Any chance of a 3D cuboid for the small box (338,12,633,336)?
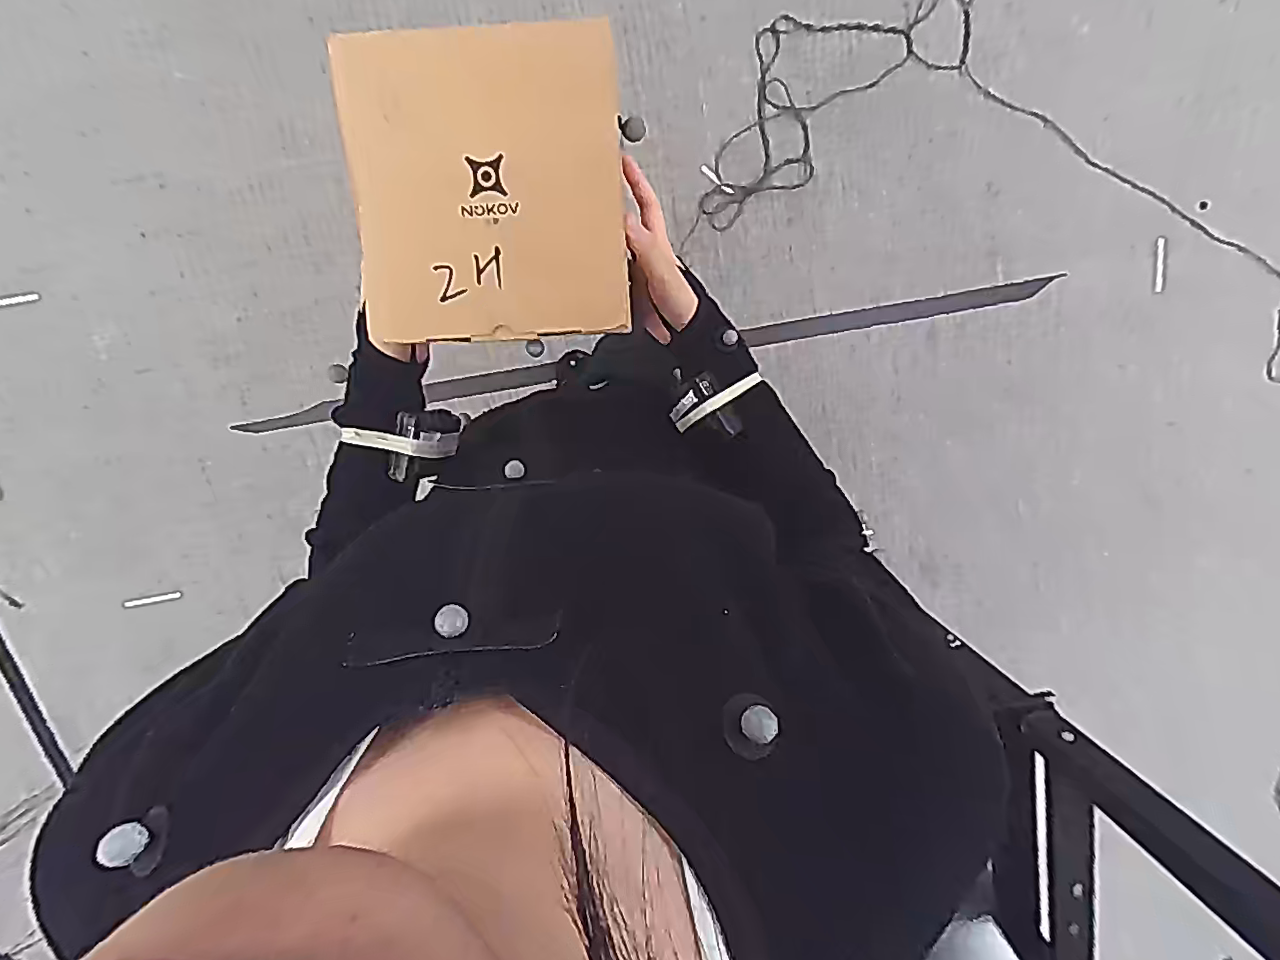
[{"bbox_3d":[-0.091,-0.203,0.410,0.168,0.176,0.179,-3,106,1],"label":"small box"}]
